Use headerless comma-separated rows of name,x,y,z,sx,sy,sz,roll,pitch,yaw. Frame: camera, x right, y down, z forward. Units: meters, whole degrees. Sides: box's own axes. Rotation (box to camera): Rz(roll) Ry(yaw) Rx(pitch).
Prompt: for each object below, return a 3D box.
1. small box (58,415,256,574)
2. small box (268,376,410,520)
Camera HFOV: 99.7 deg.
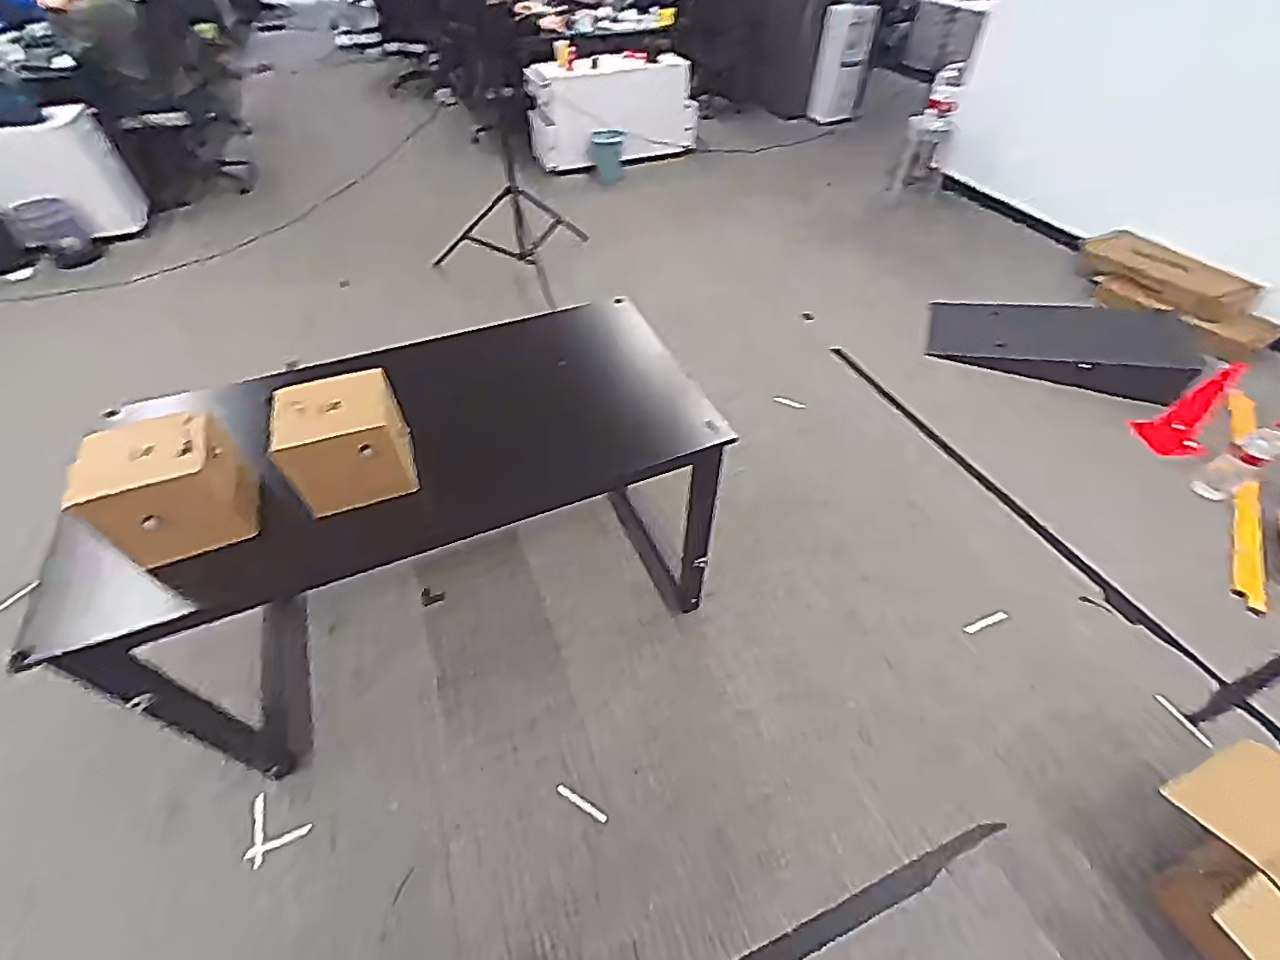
small box,-0.777,0.026,0.894,0.179,0.176,0.168,-20,51,-17
small box,-0.527,-0.056,0.968,0.179,0.176,0.168,-17,50,-15
